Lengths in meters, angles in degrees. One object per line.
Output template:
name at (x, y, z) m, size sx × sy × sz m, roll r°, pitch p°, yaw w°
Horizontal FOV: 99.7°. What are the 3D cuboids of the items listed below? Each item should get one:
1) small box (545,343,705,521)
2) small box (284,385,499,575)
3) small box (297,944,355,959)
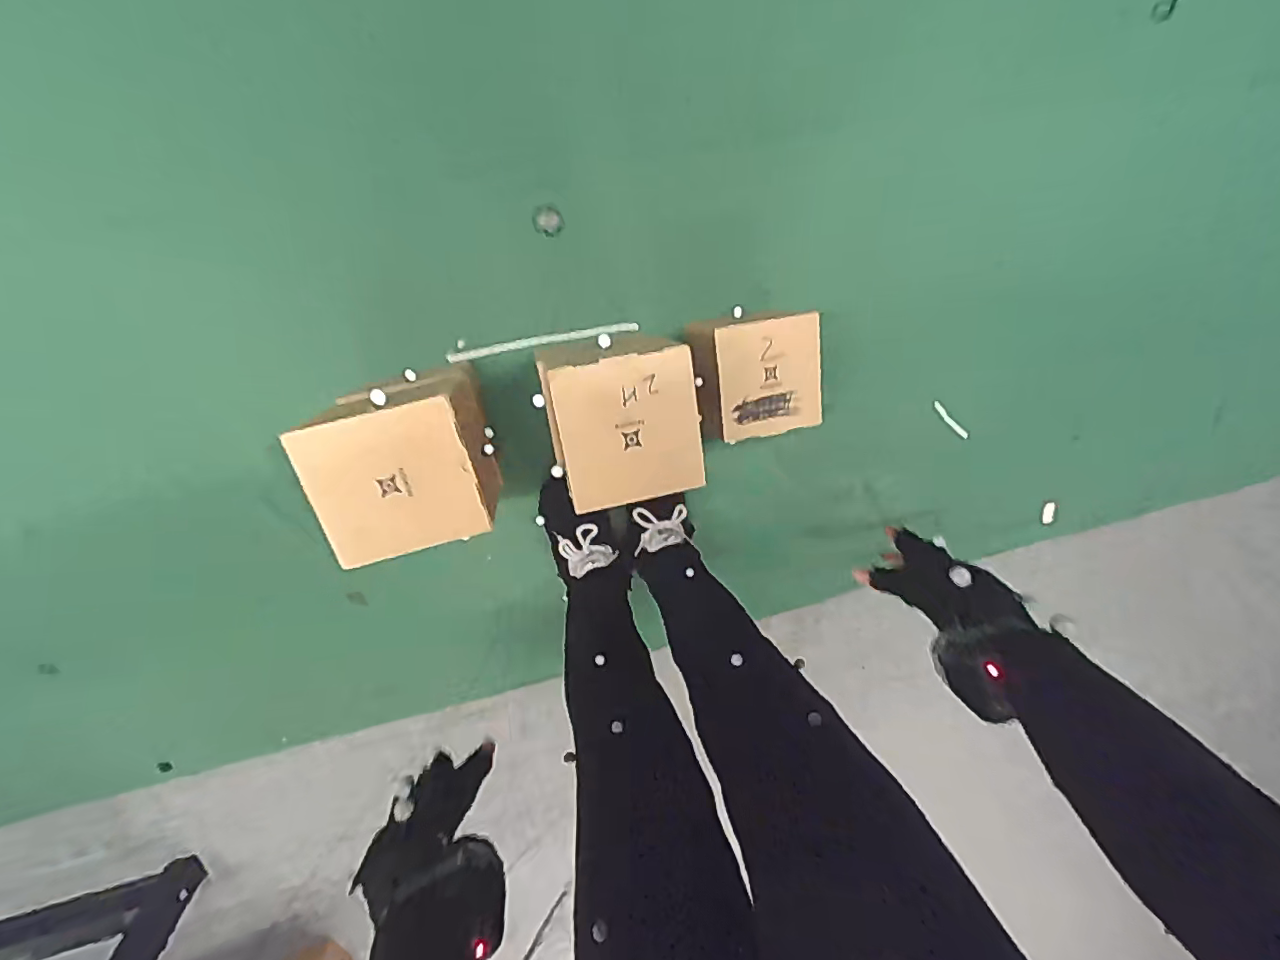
small box at (-0.025, -0.071, 0.697) m, size 0.168 × 0.176 × 0.179 m, roll -12°, pitch 110°, yaw -8°
small box at (-0.284, -0.011, 0.666) m, size 0.179 × 0.176 × 0.168 m, roll -16°, pitch 110°, yaw -7°
small box at (-0.709, 1.148, 1.146) m, size 0.179 × 0.176 × 0.168 m, roll -24°, pitch 112°, yaw -2°
